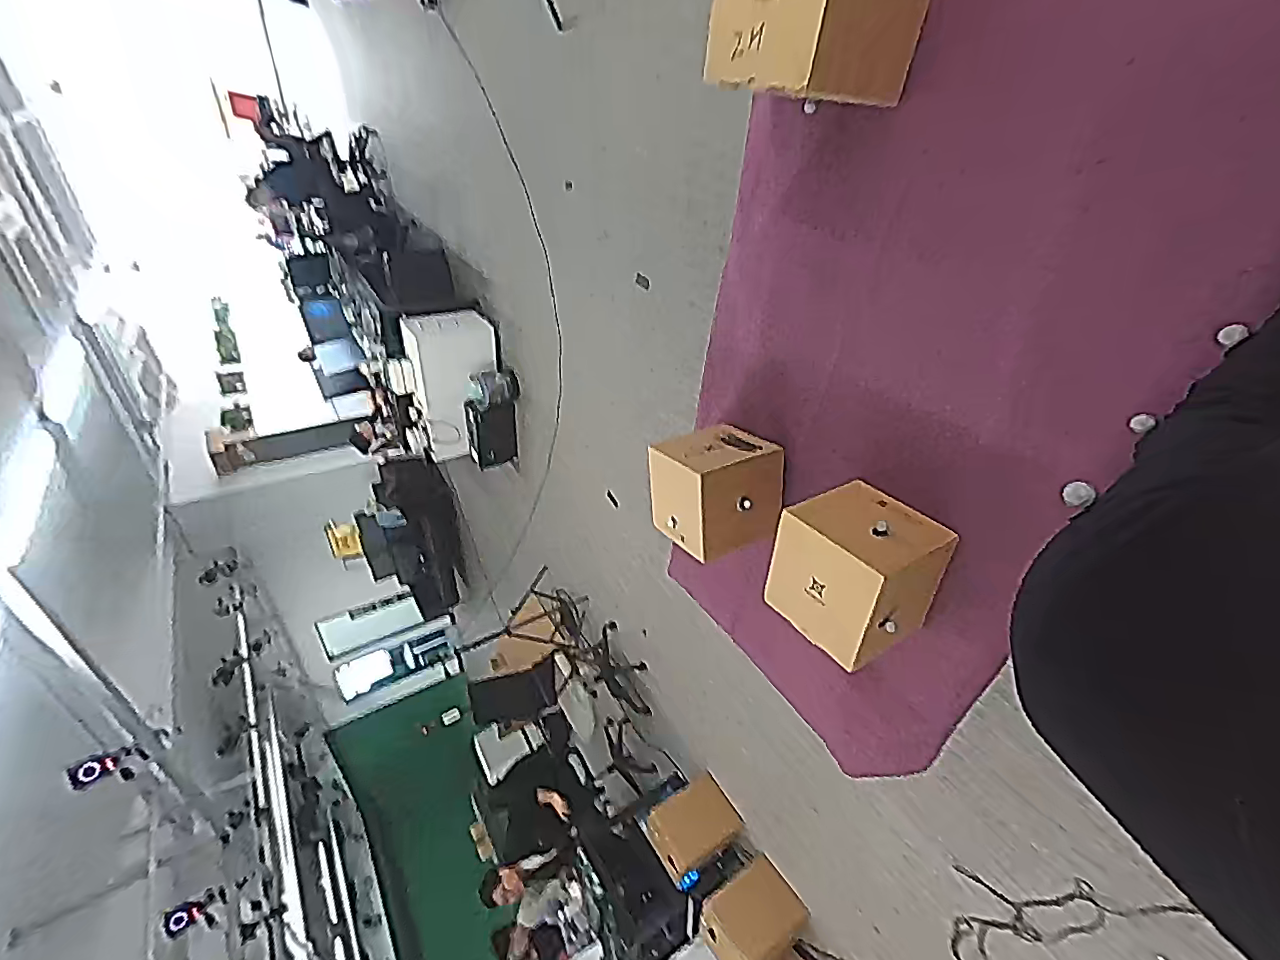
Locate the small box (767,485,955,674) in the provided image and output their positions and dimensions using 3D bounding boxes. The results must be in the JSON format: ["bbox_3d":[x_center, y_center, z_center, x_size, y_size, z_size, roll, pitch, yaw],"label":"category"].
[{"bbox_3d":[0.310,0.129,0.768,0.168,0.176,0.179,39,137,45],"label":"small box"}]

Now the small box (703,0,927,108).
[{"bbox_3d":[0.196,-0.527,0.592,0.168,0.176,0.179,43,139,40],"label":"small box"}]
